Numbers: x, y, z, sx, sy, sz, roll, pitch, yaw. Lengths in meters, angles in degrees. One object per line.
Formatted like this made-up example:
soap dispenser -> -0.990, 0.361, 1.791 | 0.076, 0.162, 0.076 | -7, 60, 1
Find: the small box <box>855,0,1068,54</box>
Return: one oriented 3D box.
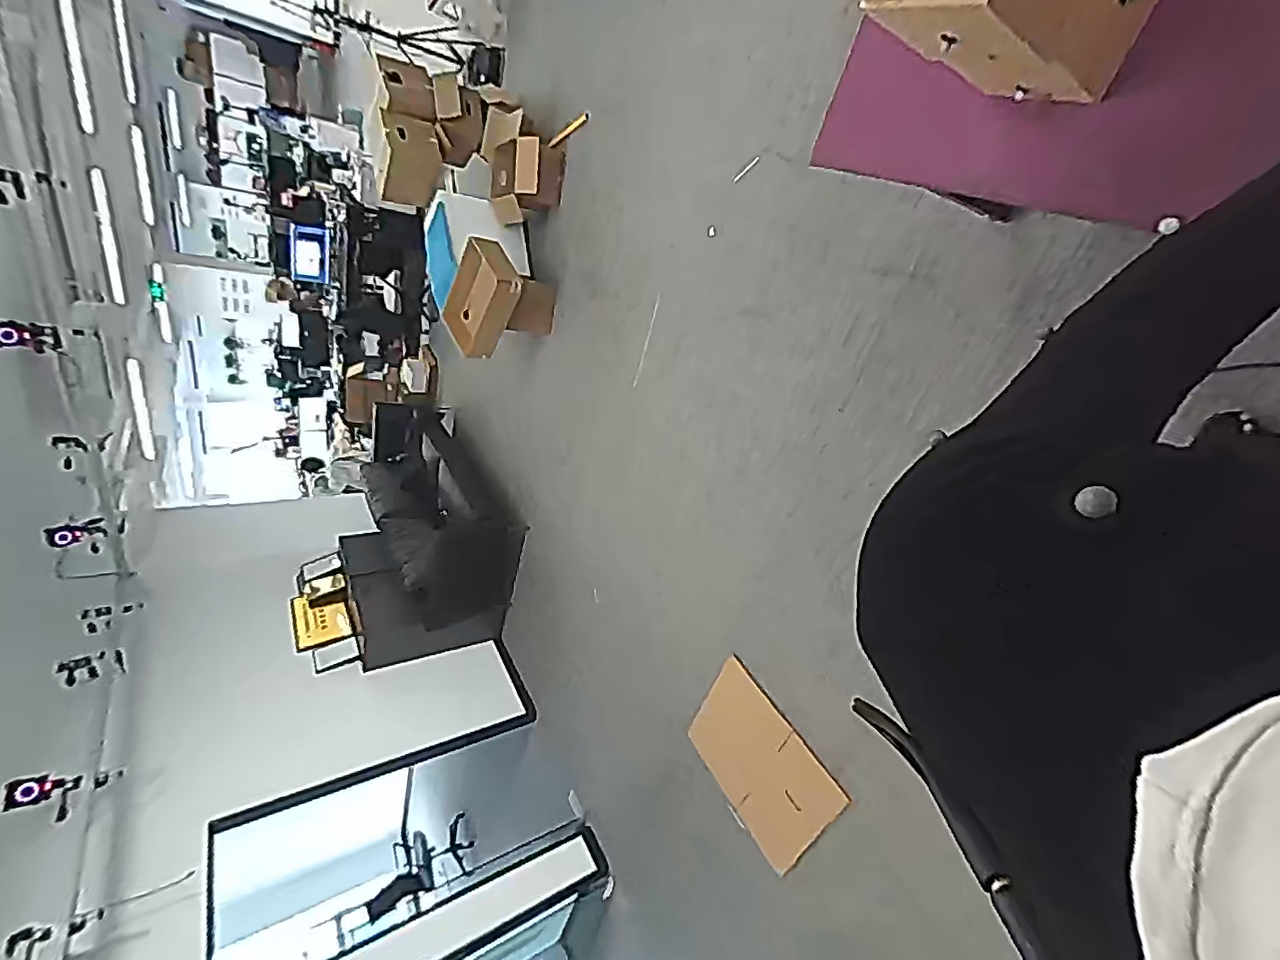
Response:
small box -> 0.384, -0.603, 0.595 | 0.168, 0.176, 0.179 | 47, 131, 40
